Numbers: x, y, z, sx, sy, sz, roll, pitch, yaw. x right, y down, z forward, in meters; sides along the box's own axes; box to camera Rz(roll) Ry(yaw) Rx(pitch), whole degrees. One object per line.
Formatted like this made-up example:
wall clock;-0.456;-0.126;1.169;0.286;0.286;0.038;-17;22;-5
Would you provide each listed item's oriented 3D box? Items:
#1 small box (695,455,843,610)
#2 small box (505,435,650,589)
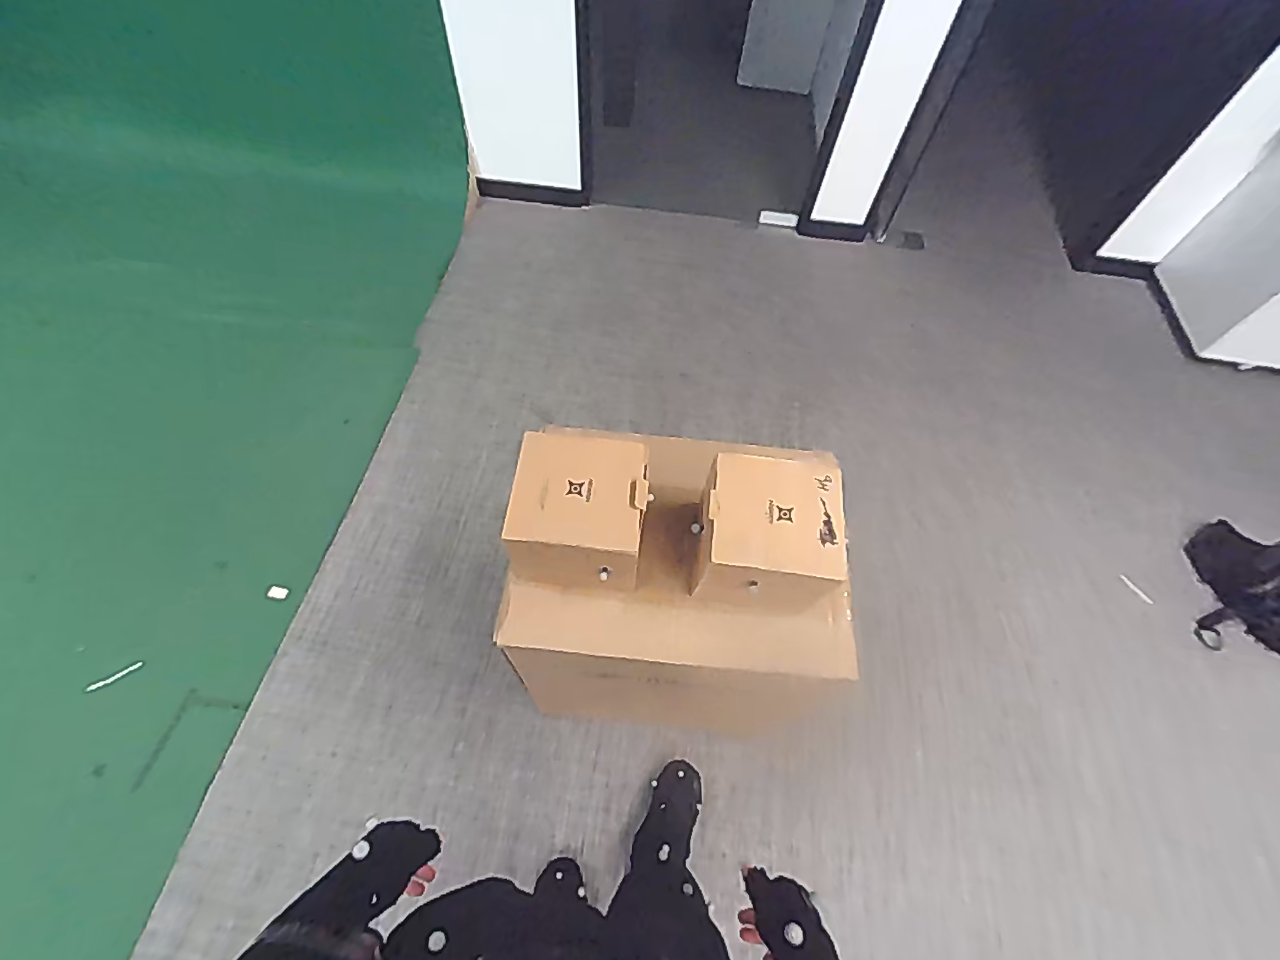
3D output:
small box;0.178;0.083;0.792;0.179;0.176;0.168;7;62;1
small box;-0.082;0.055;0.792;0.179;0.176;0.168;5;61;0
